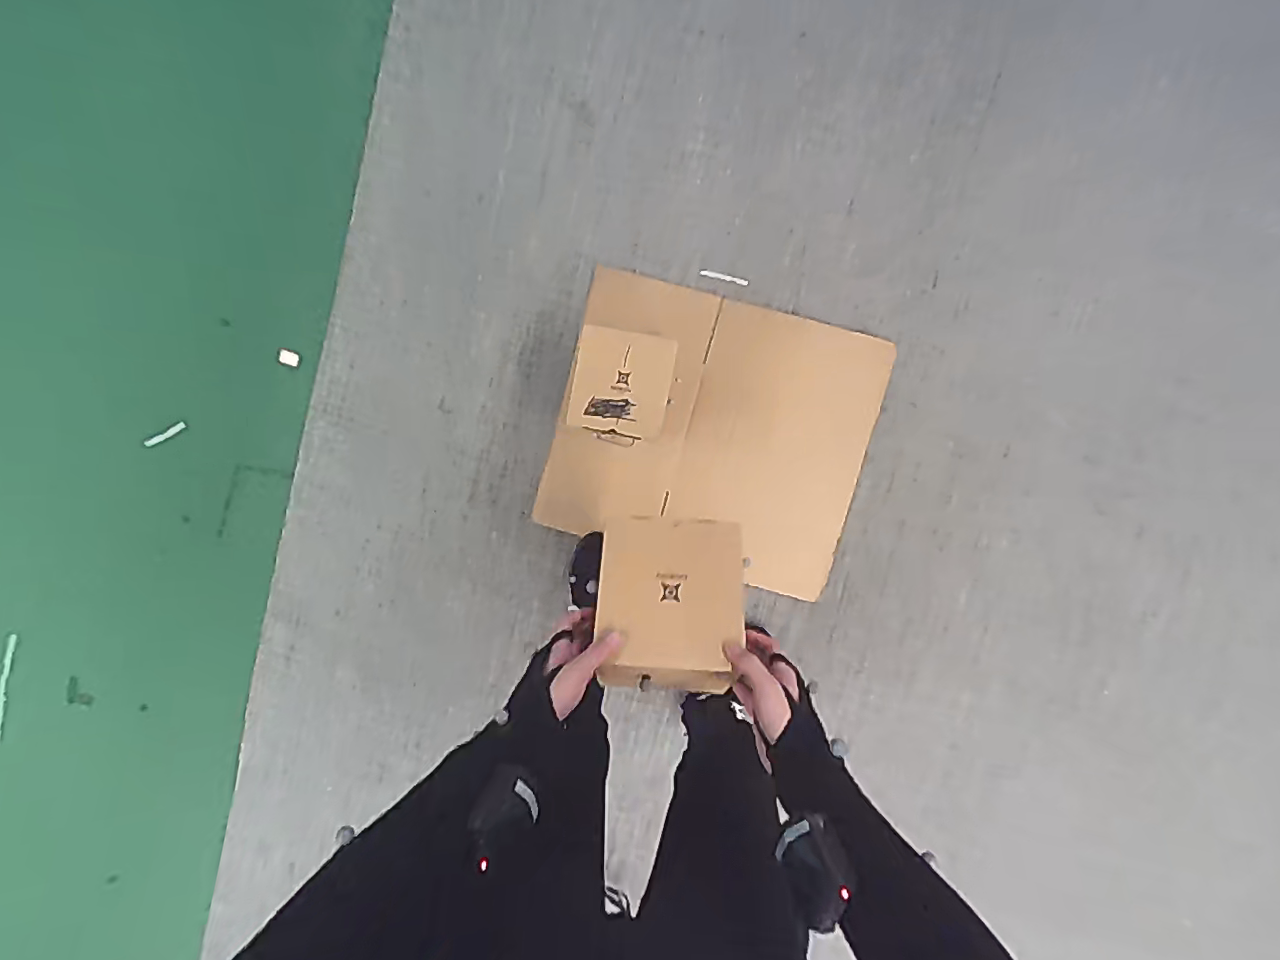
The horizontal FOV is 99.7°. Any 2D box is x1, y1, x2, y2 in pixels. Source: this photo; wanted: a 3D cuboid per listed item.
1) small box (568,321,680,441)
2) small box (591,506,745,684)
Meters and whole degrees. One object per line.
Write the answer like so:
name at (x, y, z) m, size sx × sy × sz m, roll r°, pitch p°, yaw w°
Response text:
small box at (-0.021, -0.170, 0.982) m, size 0.168 × 0.176 × 0.179 m, roll 11°, pitch 94°, yaw 4°
small box at (0.036, 0.150, 0.674) m, size 0.168 × 0.176 × 0.179 m, roll 3°, pitch 61°, yaw 2°
